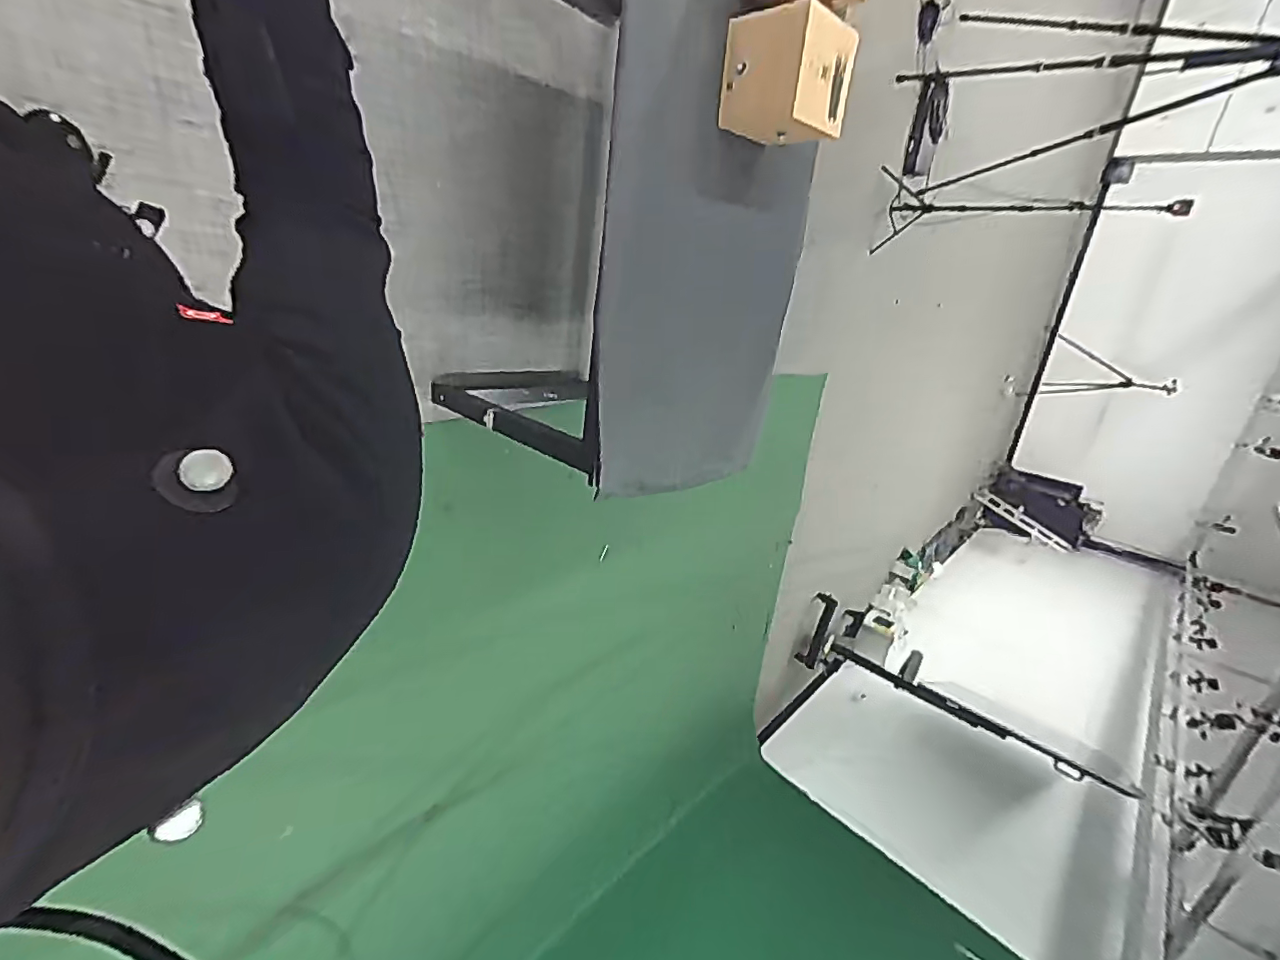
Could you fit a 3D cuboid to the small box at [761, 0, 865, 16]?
[{"bbox_3d":[0.294,-0.939,0.930,0.179,0.176,0.168,-14,119,-44],"label":"small box"}]
